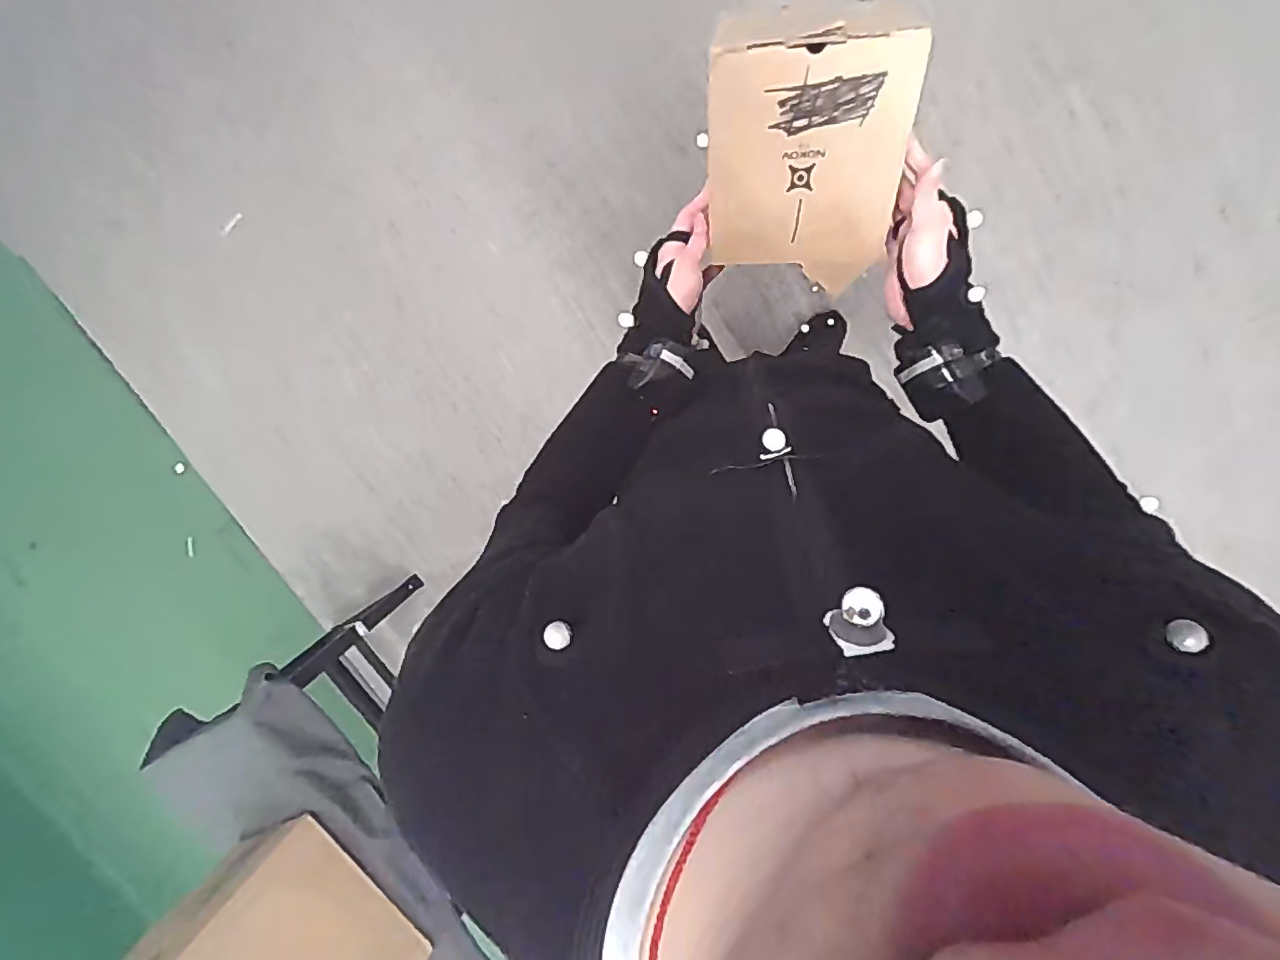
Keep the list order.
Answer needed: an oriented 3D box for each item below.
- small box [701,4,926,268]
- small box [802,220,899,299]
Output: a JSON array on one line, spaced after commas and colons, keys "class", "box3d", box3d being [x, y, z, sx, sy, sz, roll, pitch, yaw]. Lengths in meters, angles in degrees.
[{"class": "small box", "box3d": [0.146, -0.325, 0.514, 0.168, 0.176, 0.179, 4, 140, 11]}, {"class": "small box", "box3d": [0.458, -0.543, 1.246, 0.168, 0.176, 0.179, 44, 115, -4]}]
